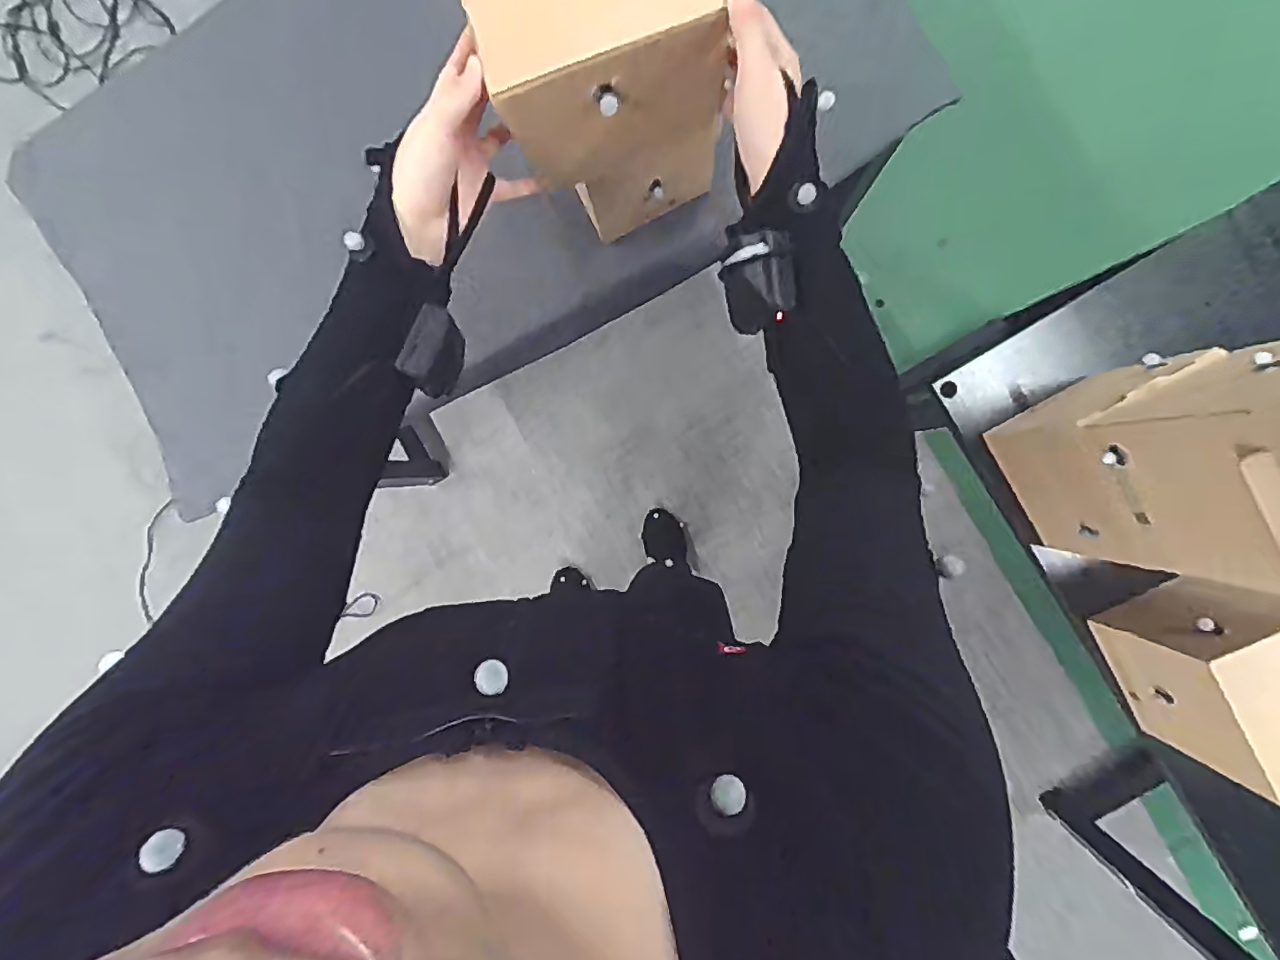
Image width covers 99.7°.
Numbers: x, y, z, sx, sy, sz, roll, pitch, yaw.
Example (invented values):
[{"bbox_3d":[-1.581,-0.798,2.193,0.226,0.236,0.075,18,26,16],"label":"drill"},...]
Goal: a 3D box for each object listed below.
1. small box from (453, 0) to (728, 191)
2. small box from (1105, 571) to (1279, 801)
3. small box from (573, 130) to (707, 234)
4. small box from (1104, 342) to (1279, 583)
[{"bbox_3d":[-0.037,-0.364,0.431,0.179,0.176,0.168,-14,96,9],"label":"small box"},{"bbox_3d":[0.695,0.217,0.622,0.179,0.176,0.168,-27,89,4],"label":"small box"},{"bbox_3d":[-0.023,-0.433,0.662,0.168,0.176,0.179,-27,88,5],"label":"small box"},{"bbox_3d":[0.557,-0.019,0.463,0.179,0.176,0.168,-27,90,3],"label":"small box"}]
